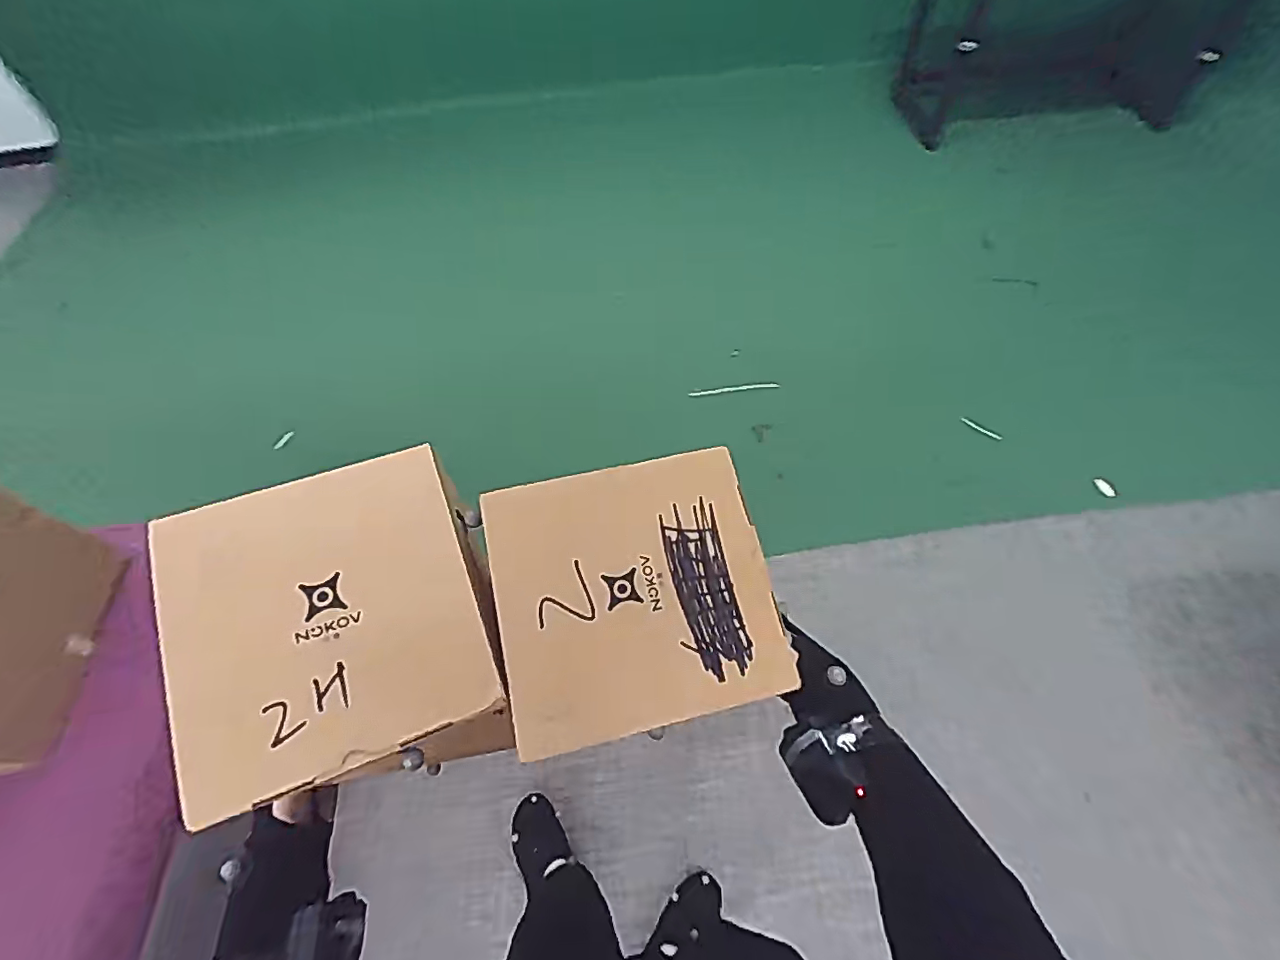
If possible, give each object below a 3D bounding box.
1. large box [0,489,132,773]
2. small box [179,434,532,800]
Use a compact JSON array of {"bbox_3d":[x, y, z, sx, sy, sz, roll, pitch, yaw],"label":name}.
[{"bbox_3d":[-0.995,0.194,0.656,0.408,0.320,0.320,-7,58,-2],"label":"large box"},{"bbox_3d":[-0.184,0.096,0.392,0.168,0.176,0.179,-18,72,-13],"label":"small box"}]
